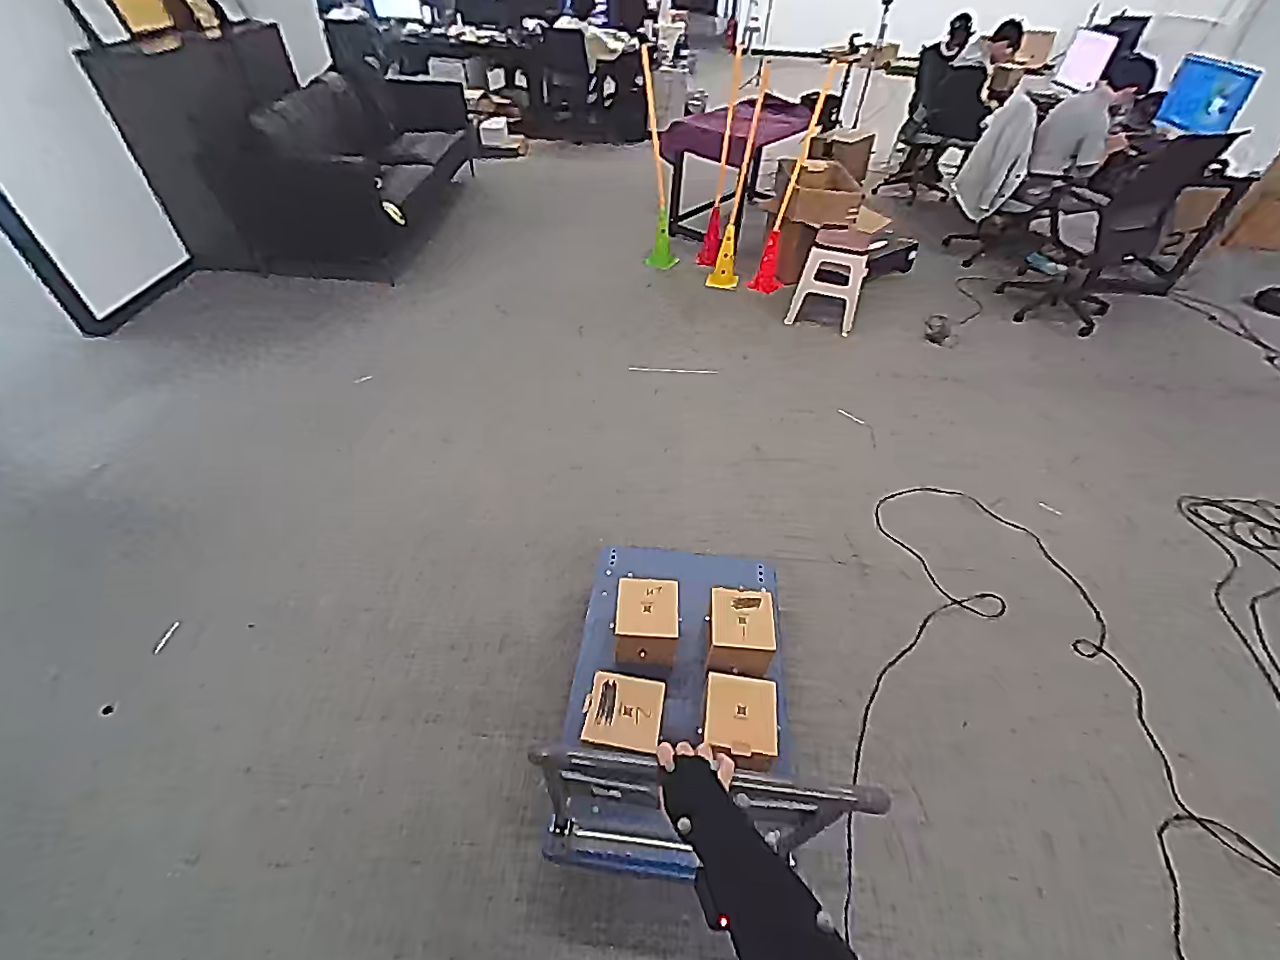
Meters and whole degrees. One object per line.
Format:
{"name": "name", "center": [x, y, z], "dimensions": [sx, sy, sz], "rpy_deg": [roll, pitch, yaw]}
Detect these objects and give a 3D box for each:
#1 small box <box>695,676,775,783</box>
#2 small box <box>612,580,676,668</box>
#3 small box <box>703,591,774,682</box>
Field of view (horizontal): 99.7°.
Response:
{"name": "small box", "center": [0.228, 0.607, 1.313], "dimensions": [0.168, 0.176, 0.179], "rpy_deg": [8, 47, 4]}
{"name": "small box", "center": [0.011, 0.402, 1.497], "dimensions": [0.168, 0.176, 0.179], "rpy_deg": [4, 46, 0]}
{"name": "small box", "center": [0.265, 0.430, 1.484], "dimensions": [0.168, 0.176, 0.179], "rpy_deg": [5, 46, 3]}
